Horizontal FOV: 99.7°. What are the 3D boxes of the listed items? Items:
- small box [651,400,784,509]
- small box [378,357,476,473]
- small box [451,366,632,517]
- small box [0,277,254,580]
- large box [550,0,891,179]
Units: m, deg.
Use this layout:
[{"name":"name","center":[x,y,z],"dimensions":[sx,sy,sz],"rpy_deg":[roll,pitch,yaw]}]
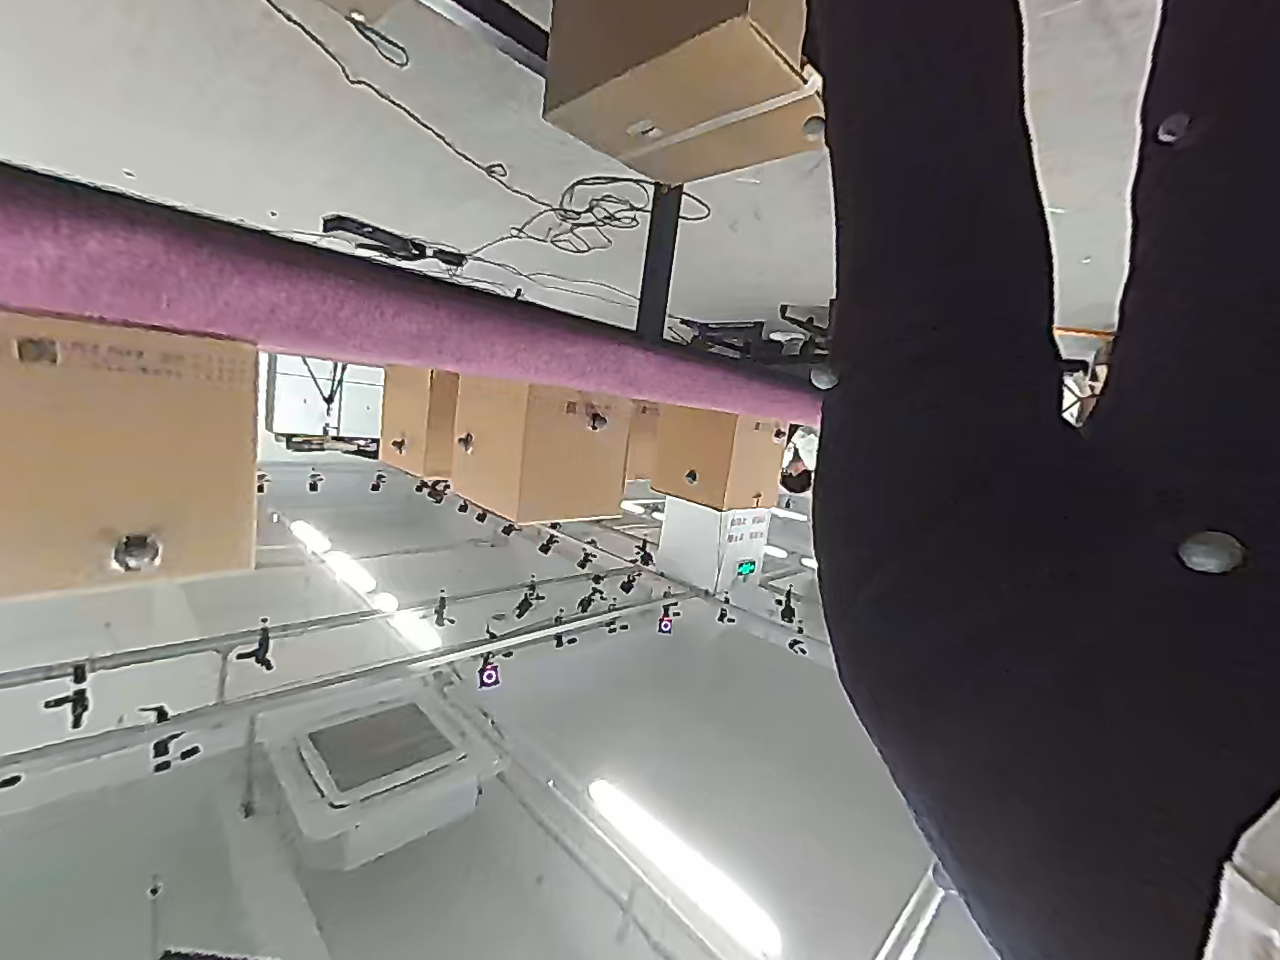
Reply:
[{"name":"small box","center":[0.145,-0.051,0.986],"dimensions":[0.168,0.176,0.179],"rpy_deg":[1,-169,-45]},{"name":"small box","center":[-0.311,-0.107,0.895],"dimensions":[0.179,0.176,0.168],"rpy_deg":[13,-171,43]},{"name":"small box","center":[-0.129,-0.056,0.716],"dimensions":[0.168,0.176,0.179],"rpy_deg":[-1,-168,-44]},{"name":"small box","center":[-0.386,-0.044,0.376],"dimensions":[0.179,0.176,0.168],"rpy_deg":[18,-166,40]},{"name":"large box","center":[0.116,-0.708,0.813],"dimensions":[0.320,0.320,0.408],"rpy_deg":[2,-169,-44]}]
